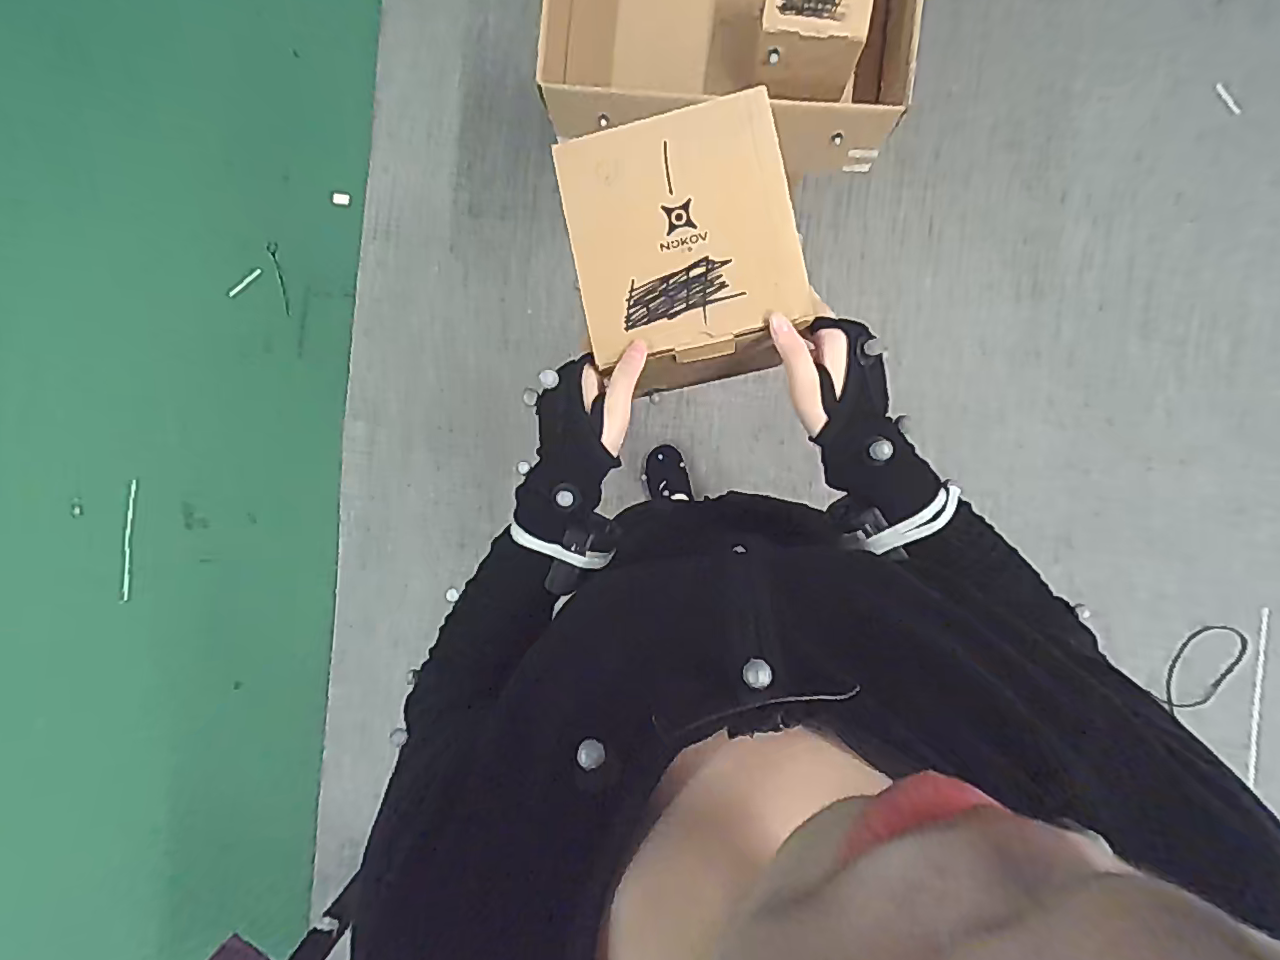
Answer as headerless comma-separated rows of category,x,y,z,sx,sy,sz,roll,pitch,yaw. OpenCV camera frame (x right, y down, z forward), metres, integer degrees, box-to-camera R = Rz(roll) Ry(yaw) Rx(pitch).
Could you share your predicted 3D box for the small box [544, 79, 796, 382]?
small box,0.030,-0.192,0.479,0.168,0.176,0.179,-11,87,6
